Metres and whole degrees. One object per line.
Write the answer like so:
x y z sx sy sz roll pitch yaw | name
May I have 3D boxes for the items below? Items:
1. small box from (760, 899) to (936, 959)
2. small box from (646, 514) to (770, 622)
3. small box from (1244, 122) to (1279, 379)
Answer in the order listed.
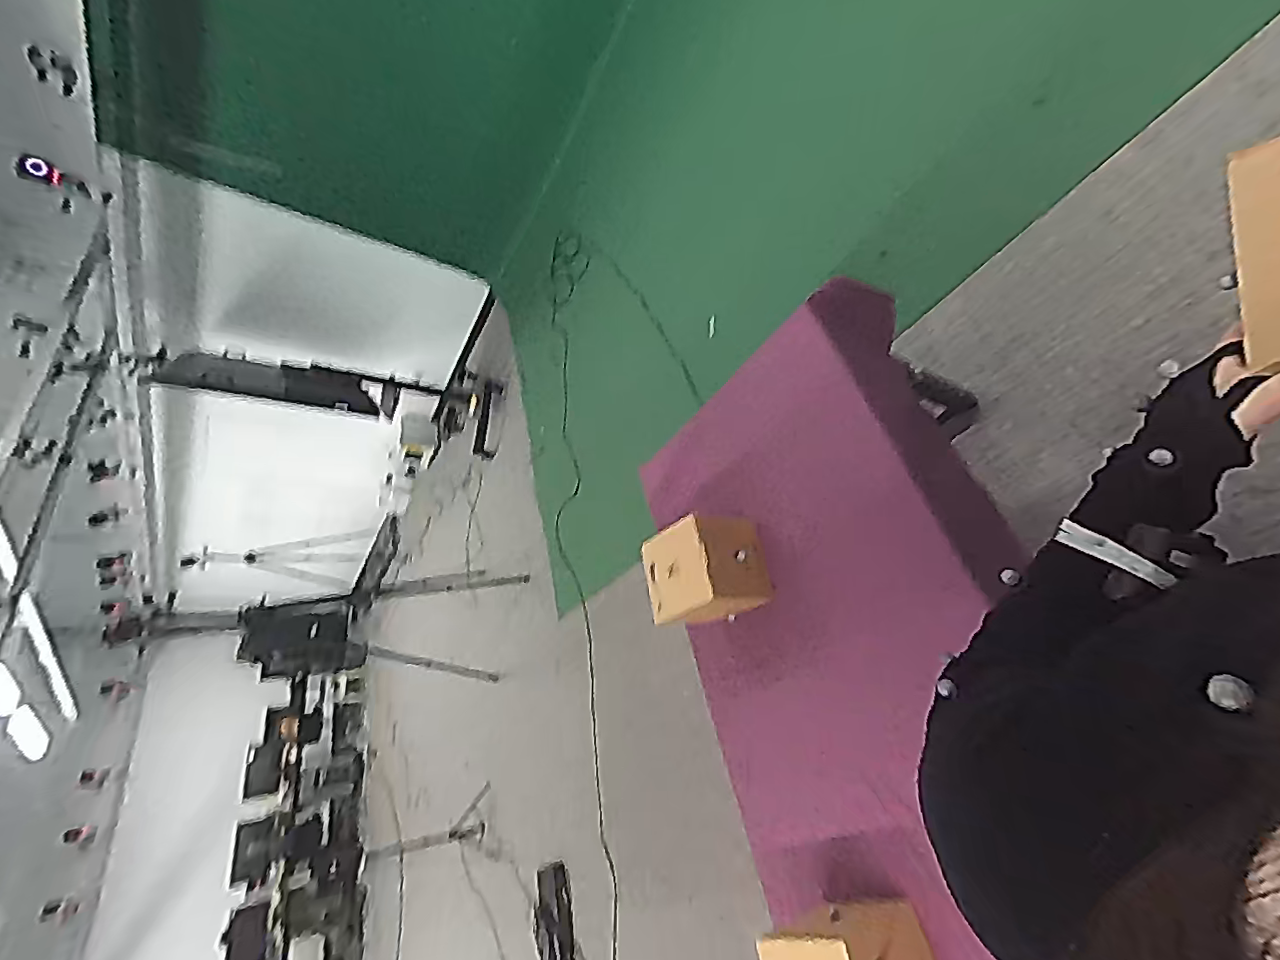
0.302 0.702 0.744 0.168 0.176 0.179 -45 48 41 | small box
0.140 0.181 1.087 0.179 0.176 0.168 -38 53 44 | small box
0.549 -0.163 0.368 0.168 0.176 0.179 -5 82 56 | small box
